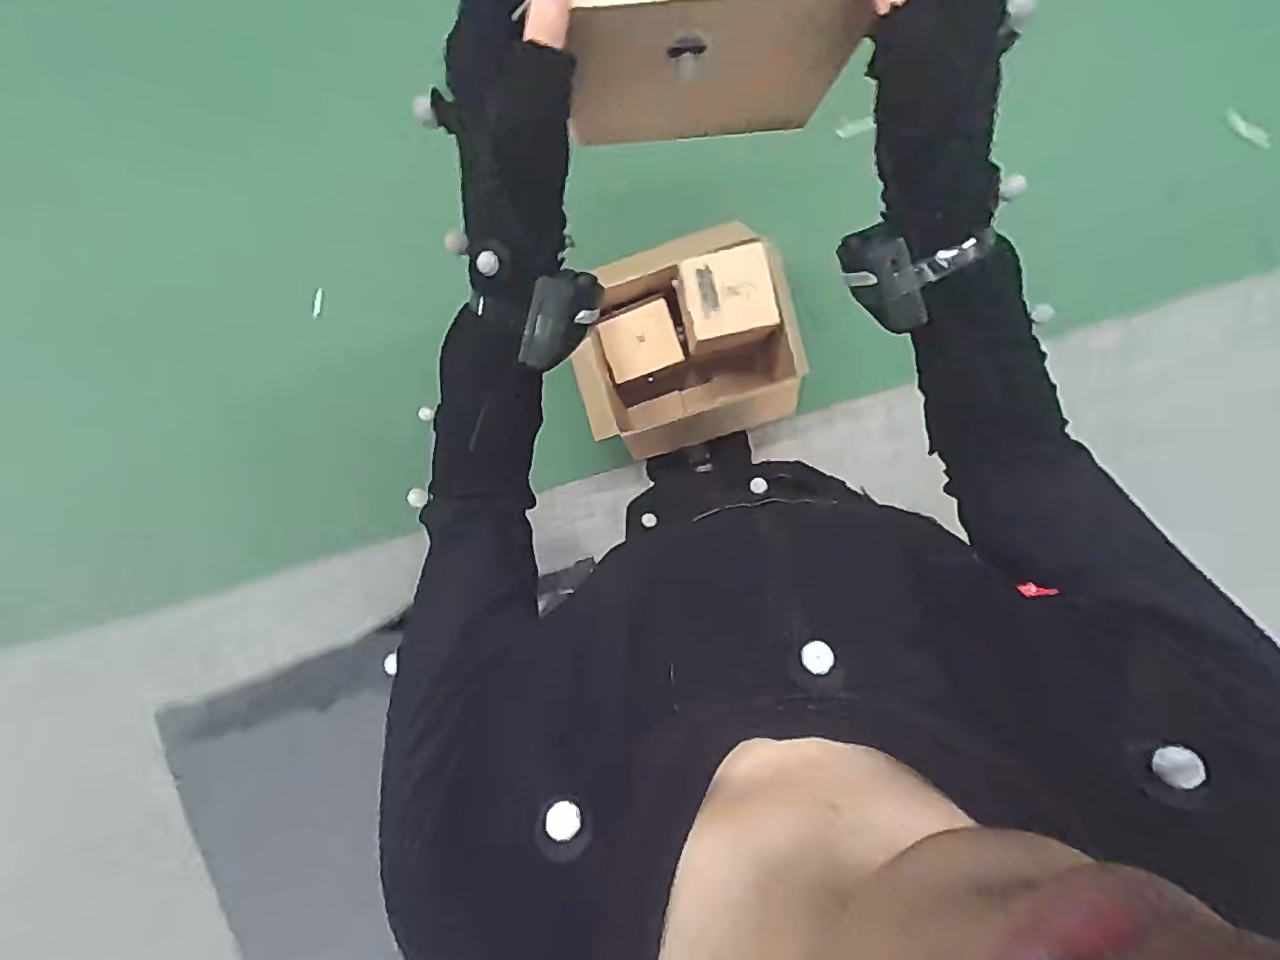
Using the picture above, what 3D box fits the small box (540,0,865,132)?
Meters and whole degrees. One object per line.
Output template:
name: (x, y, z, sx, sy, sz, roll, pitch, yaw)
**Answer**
small box: (0.033, -0.327, 0.315, 0.179, 0.176, 0.168, -3, 103, 1)
